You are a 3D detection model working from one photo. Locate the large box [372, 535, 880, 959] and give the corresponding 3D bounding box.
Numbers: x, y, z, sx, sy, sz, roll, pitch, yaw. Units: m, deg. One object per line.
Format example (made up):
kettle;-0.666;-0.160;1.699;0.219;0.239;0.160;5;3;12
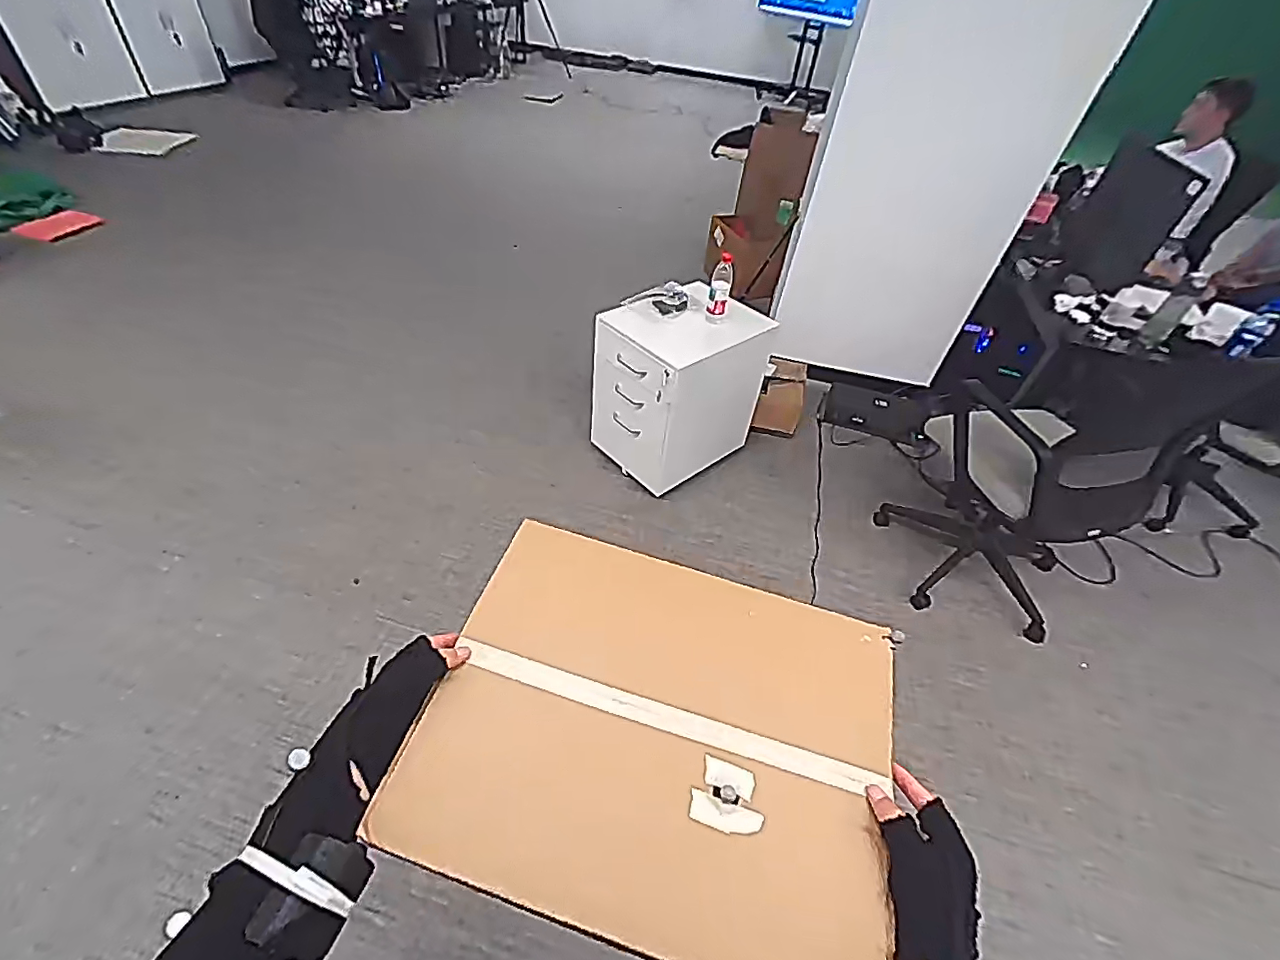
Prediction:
large box;0.003;0.317;0.606;0.408;0.320;0.320;17;51;6
